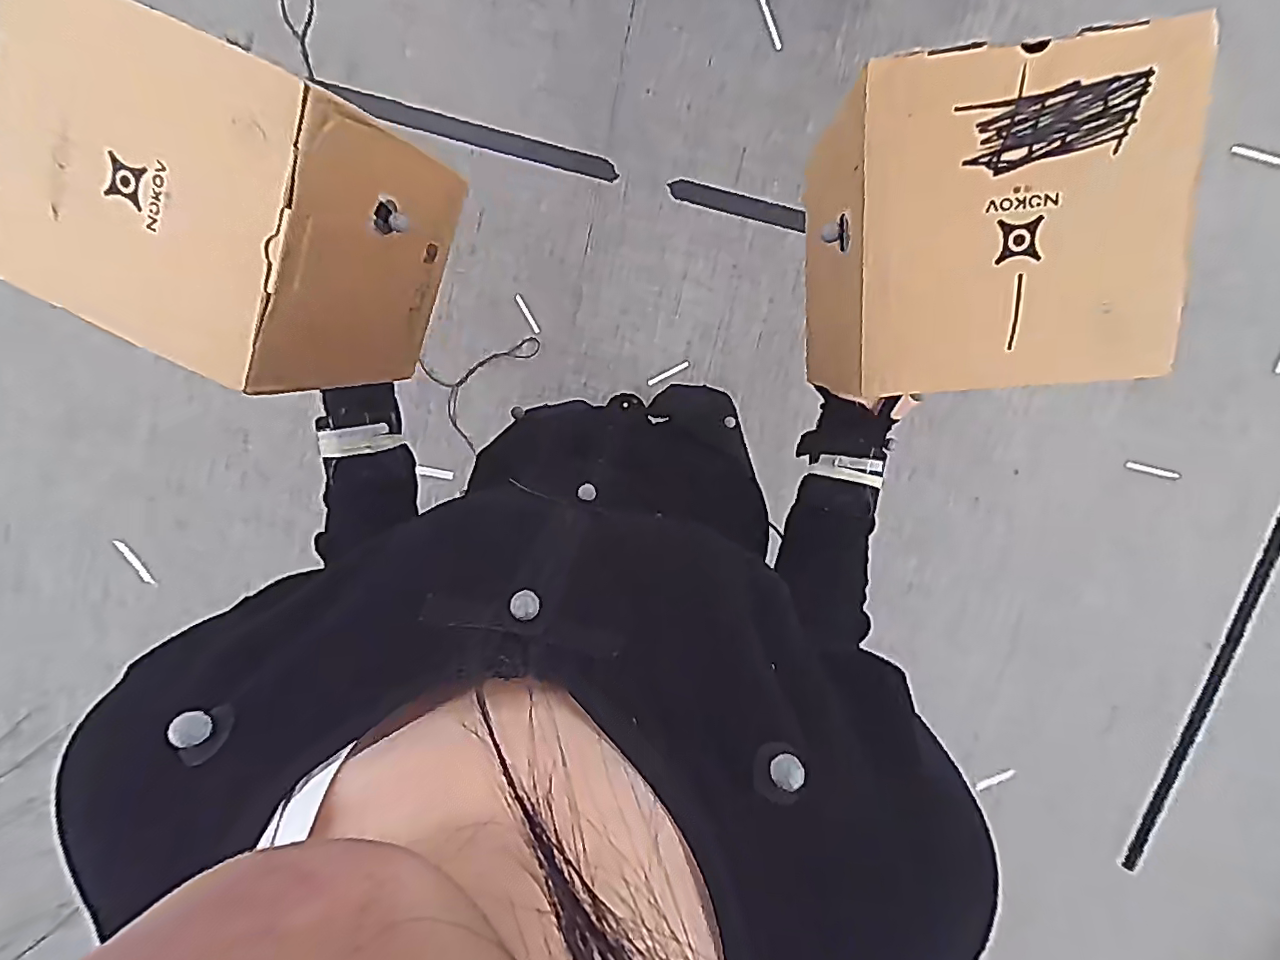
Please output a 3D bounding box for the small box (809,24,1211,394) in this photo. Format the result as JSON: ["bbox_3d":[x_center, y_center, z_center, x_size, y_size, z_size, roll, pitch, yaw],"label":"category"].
[{"bbox_3d":[0.215,-0.156,0.371,0.168,0.176,0.179,-3,104,7],"label":"small box"}]

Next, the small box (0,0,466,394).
[{"bbox_3d":[-0.247,-0.173,0.364,0.179,0.176,0.168,25,105,3],"label":"small box"}]
